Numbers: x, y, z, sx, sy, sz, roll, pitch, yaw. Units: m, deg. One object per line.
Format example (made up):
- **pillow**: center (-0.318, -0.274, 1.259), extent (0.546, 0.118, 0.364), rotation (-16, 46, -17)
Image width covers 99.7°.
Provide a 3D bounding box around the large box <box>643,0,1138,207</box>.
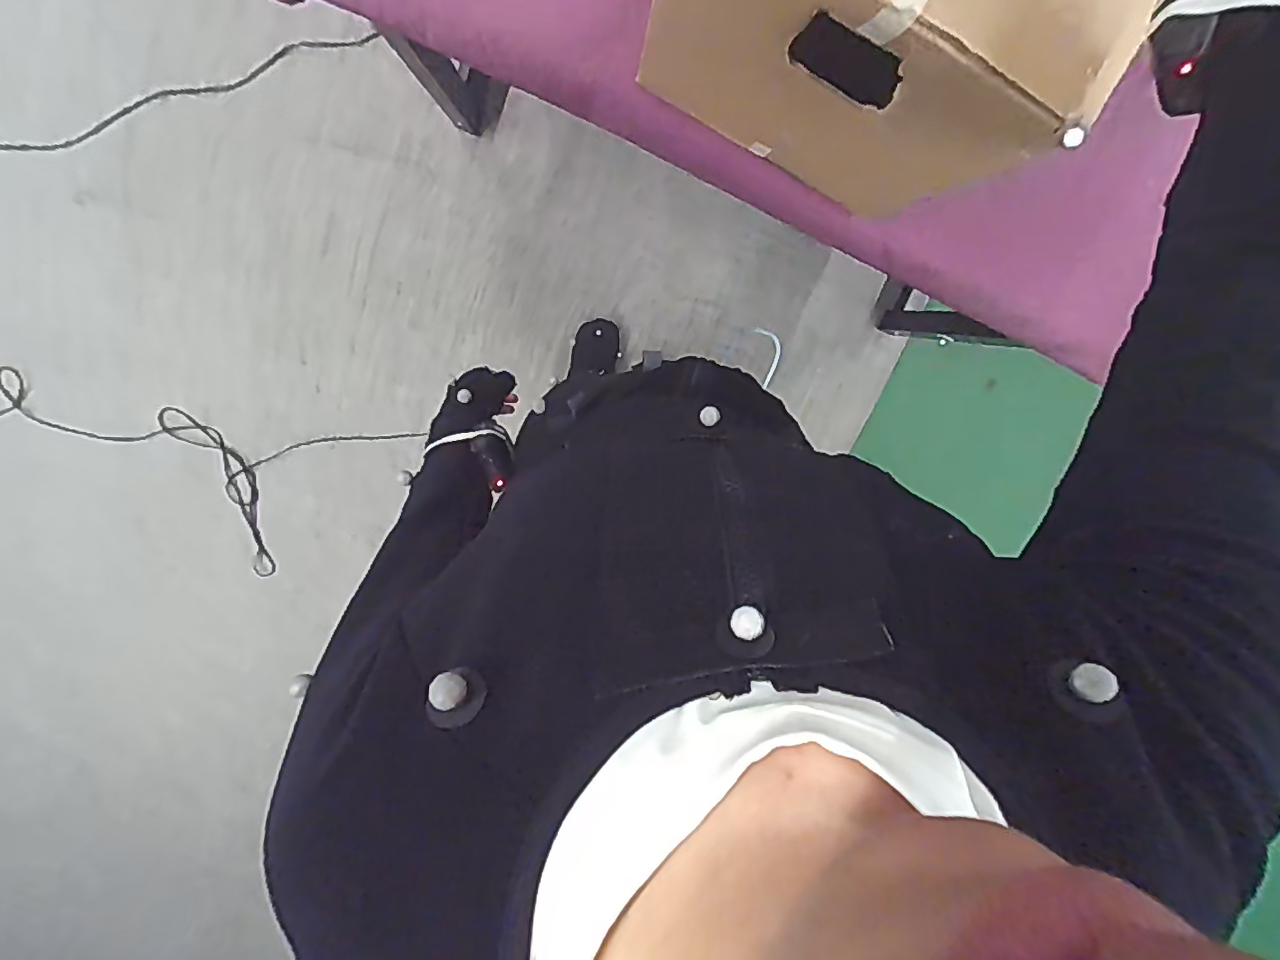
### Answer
- **large box**: center (0.230, -0.518, 0.452), extent (0.320, 0.320, 0.408), rotation (23, 105, -11)
